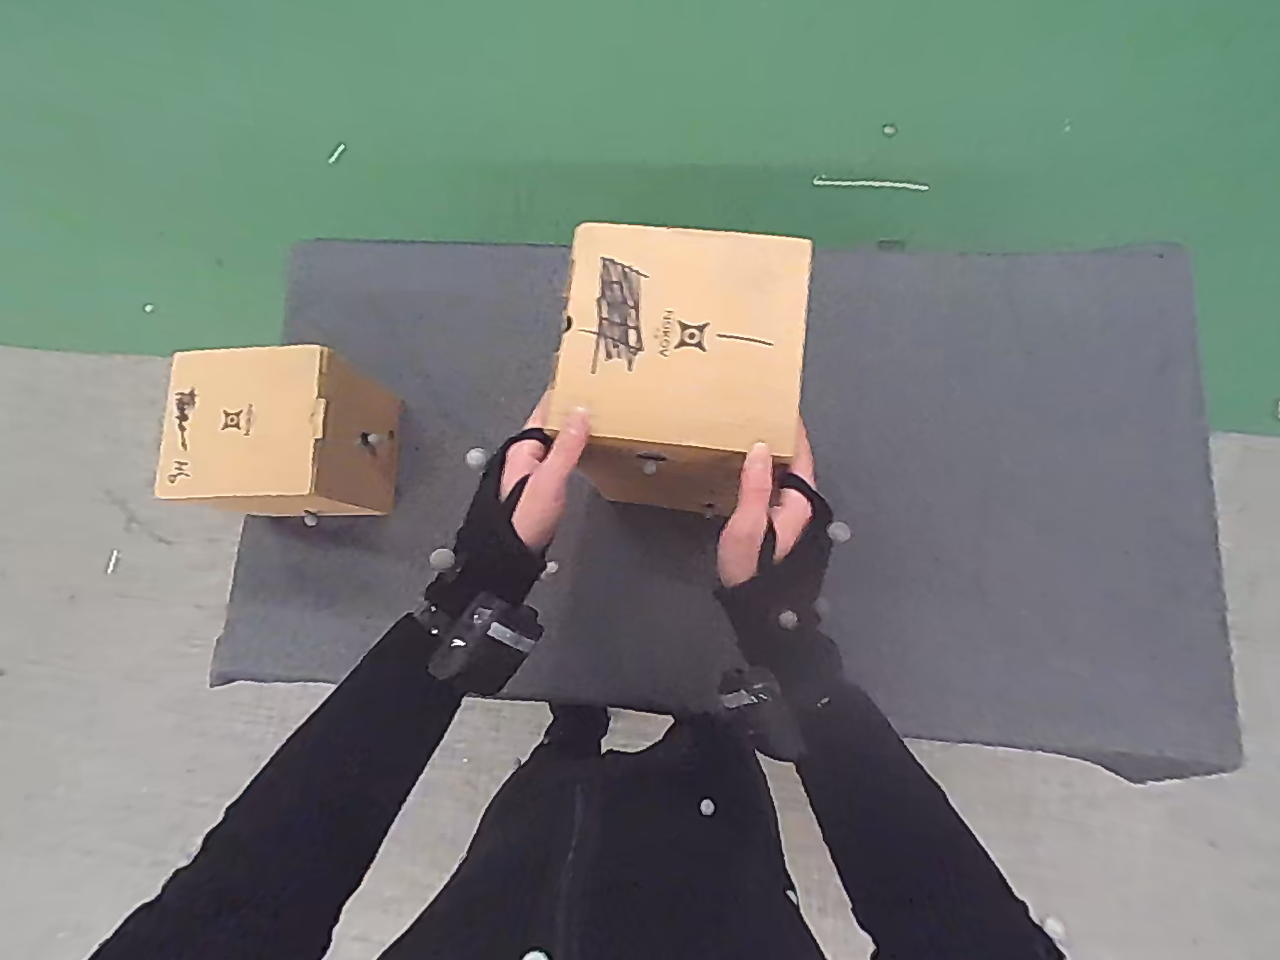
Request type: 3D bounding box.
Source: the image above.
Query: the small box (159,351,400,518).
[{"bbox_3d":[-0.414,-0.046,0.654,0.179,0.176,0.168,-1,79,3],"label":"small box"}]

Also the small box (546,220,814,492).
[{"bbox_3d":[0.035,-0.090,0.461,0.179,0.176,0.168,7,79,4],"label":"small box"}]

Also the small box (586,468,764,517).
[{"bbox_3d":[0.049,-0.055,0.621,0.179,0.176,0.168,7,79,7],"label":"small box"}]
